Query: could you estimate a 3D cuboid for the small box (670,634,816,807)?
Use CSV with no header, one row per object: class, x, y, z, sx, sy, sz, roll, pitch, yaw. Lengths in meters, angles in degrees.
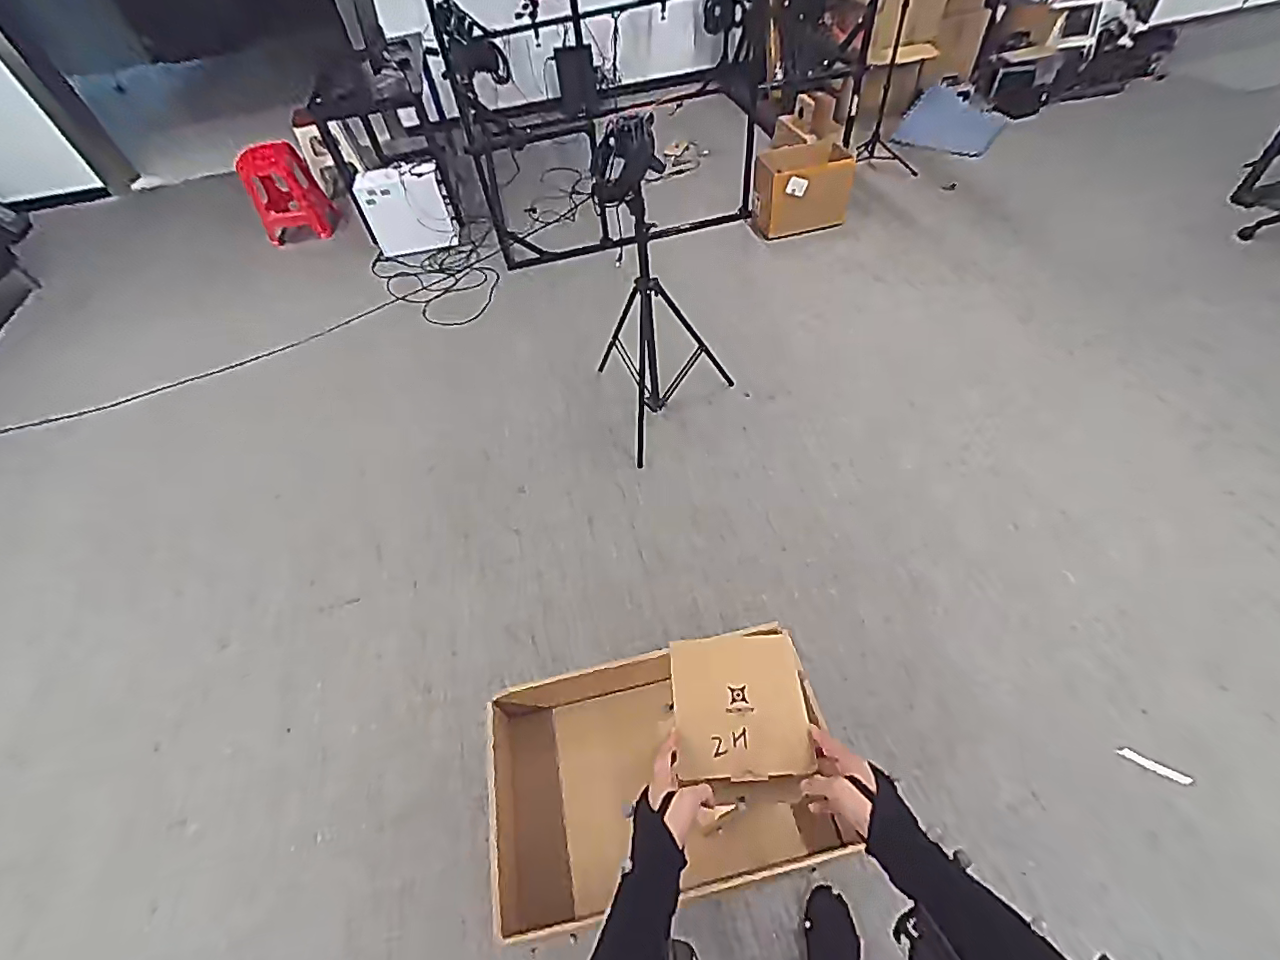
small box,0.127,0.332,0.742,0.168,0.176,0.179,-4,50,3
